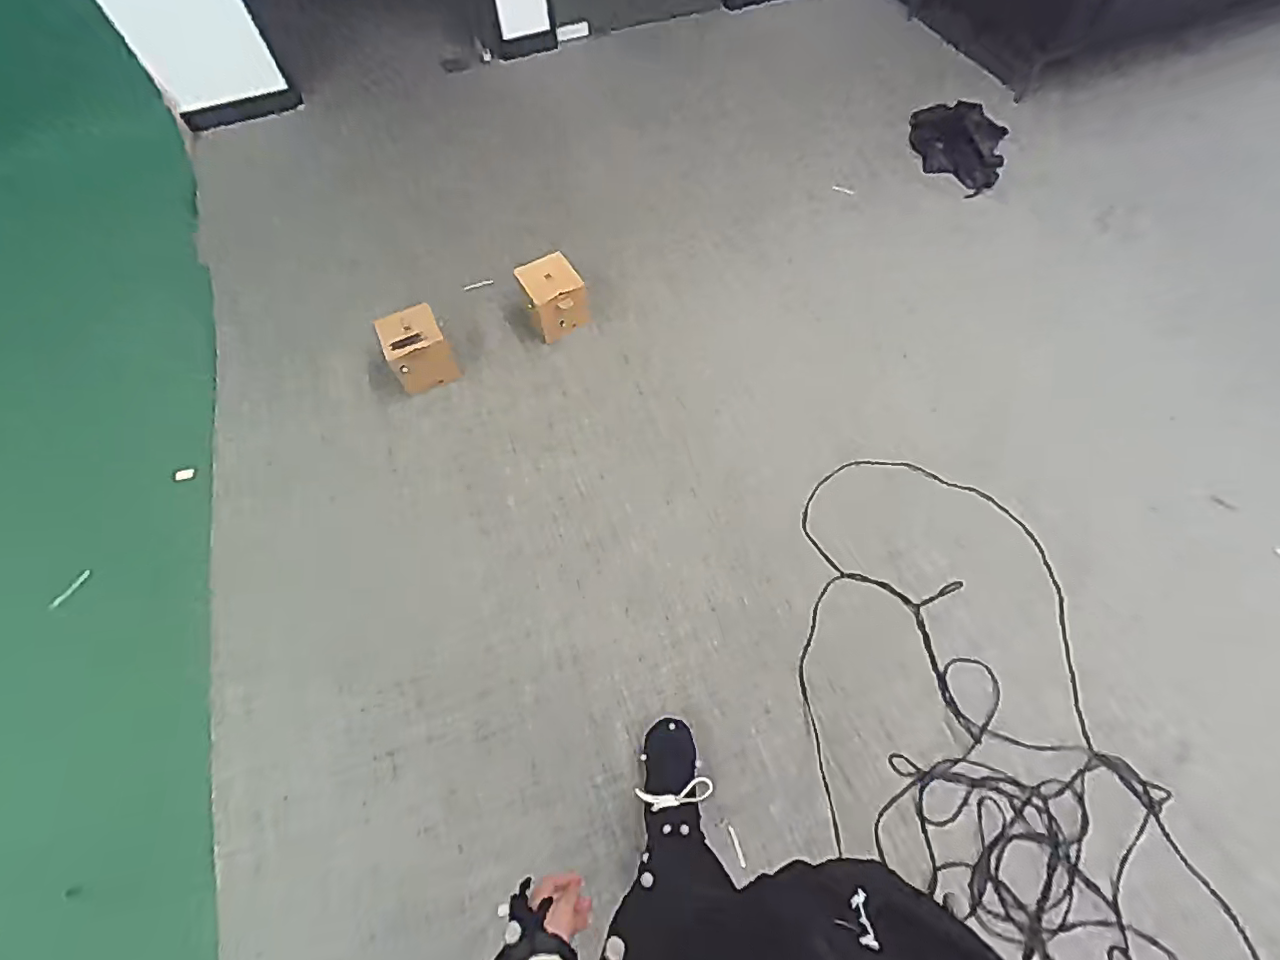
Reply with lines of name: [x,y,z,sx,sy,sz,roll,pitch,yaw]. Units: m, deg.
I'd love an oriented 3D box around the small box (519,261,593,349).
small box: [-0.263,-0.554,1.723,0.168,0.176,0.179,-28,65,-13]
